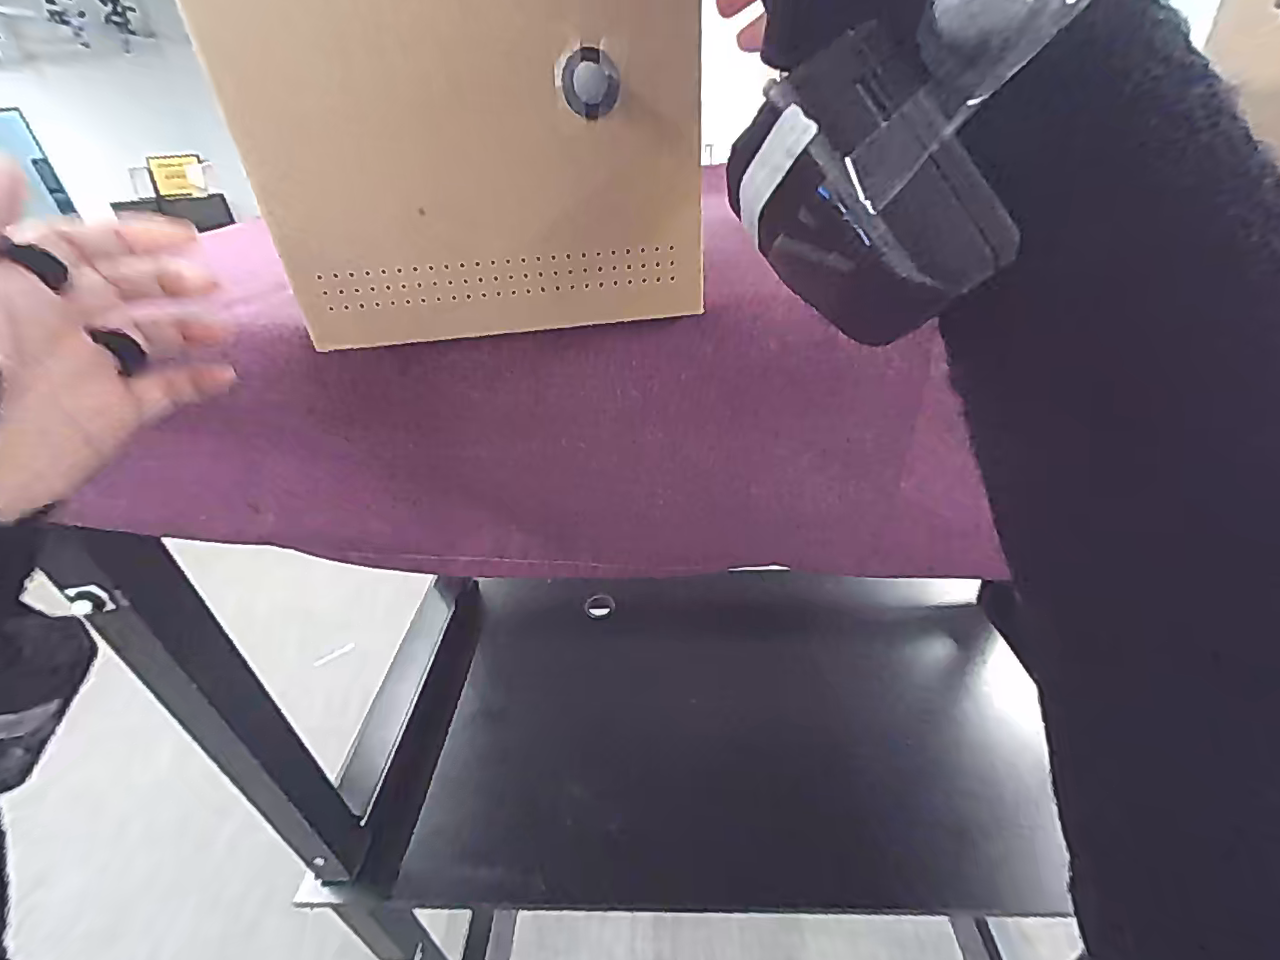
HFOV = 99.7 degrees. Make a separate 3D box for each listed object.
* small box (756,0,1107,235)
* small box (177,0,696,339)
[{"bbox_3d":[0.186,-0.276,0.386,0.168,0.176,0.179,-4,32,-1],"label":"small box"},{"bbox_3d":[-0.072,-0.179,0.263,0.179,0.176,0.168,-7,33,-5],"label":"small box"}]
